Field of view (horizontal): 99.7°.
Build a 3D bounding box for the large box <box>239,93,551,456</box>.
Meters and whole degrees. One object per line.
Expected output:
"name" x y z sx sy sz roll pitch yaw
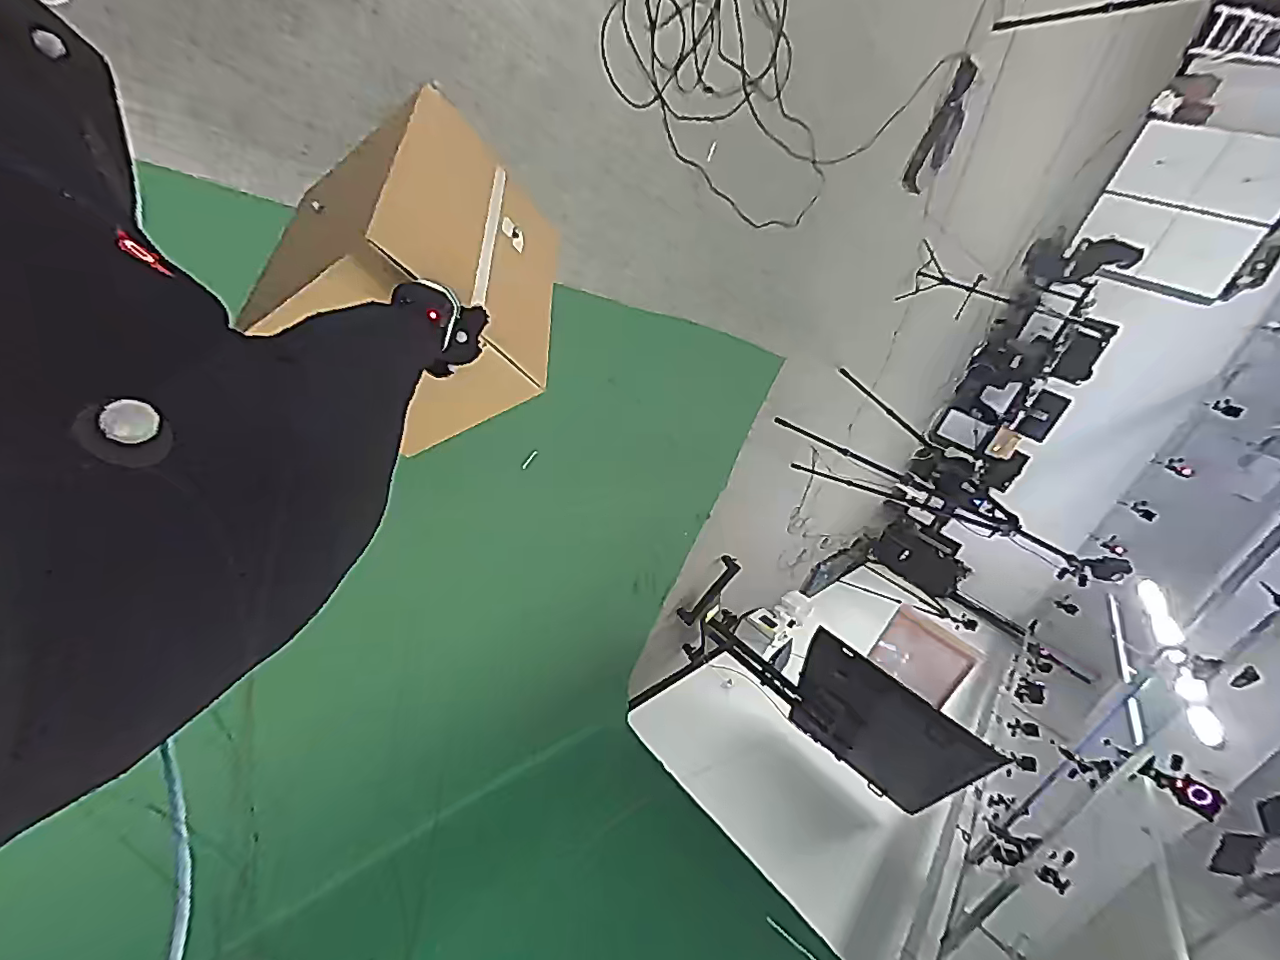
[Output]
"large box" -0.367 -0.314 0.896 0.320 0.408 0.320 -21 144 24
